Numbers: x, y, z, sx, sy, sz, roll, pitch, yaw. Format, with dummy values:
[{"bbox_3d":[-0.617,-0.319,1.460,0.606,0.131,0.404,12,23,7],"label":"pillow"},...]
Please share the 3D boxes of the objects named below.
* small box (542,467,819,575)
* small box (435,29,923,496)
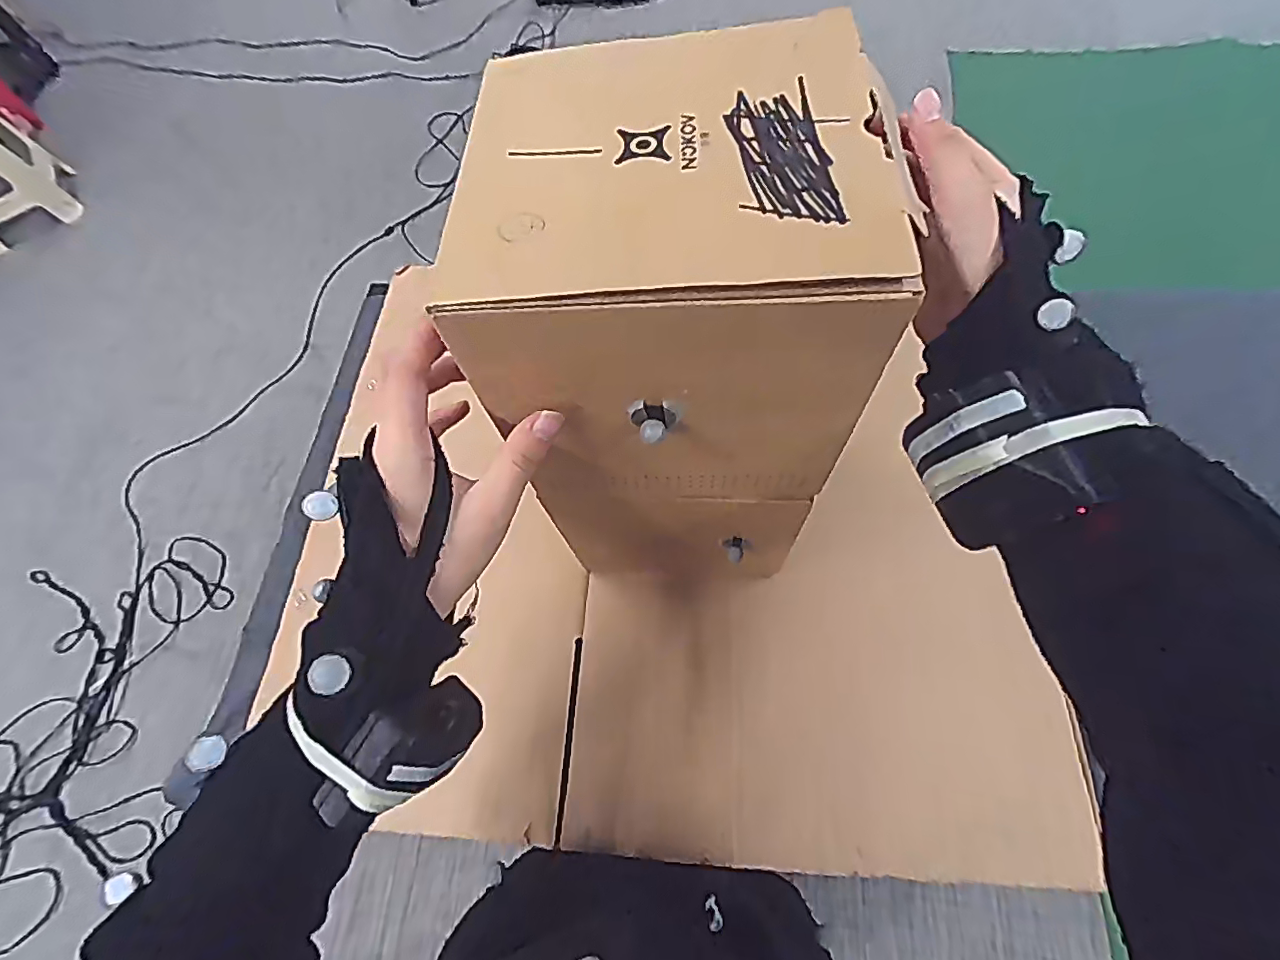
[{"bbox_3d":[0.034,-0.025,0.442,0.179,0.176,0.168,-1,64,7],"label":"small box"},{"bbox_3d":[0.020,-0.098,0.296,0.179,0.176,0.168,-1,64,6],"label":"small box"}]
